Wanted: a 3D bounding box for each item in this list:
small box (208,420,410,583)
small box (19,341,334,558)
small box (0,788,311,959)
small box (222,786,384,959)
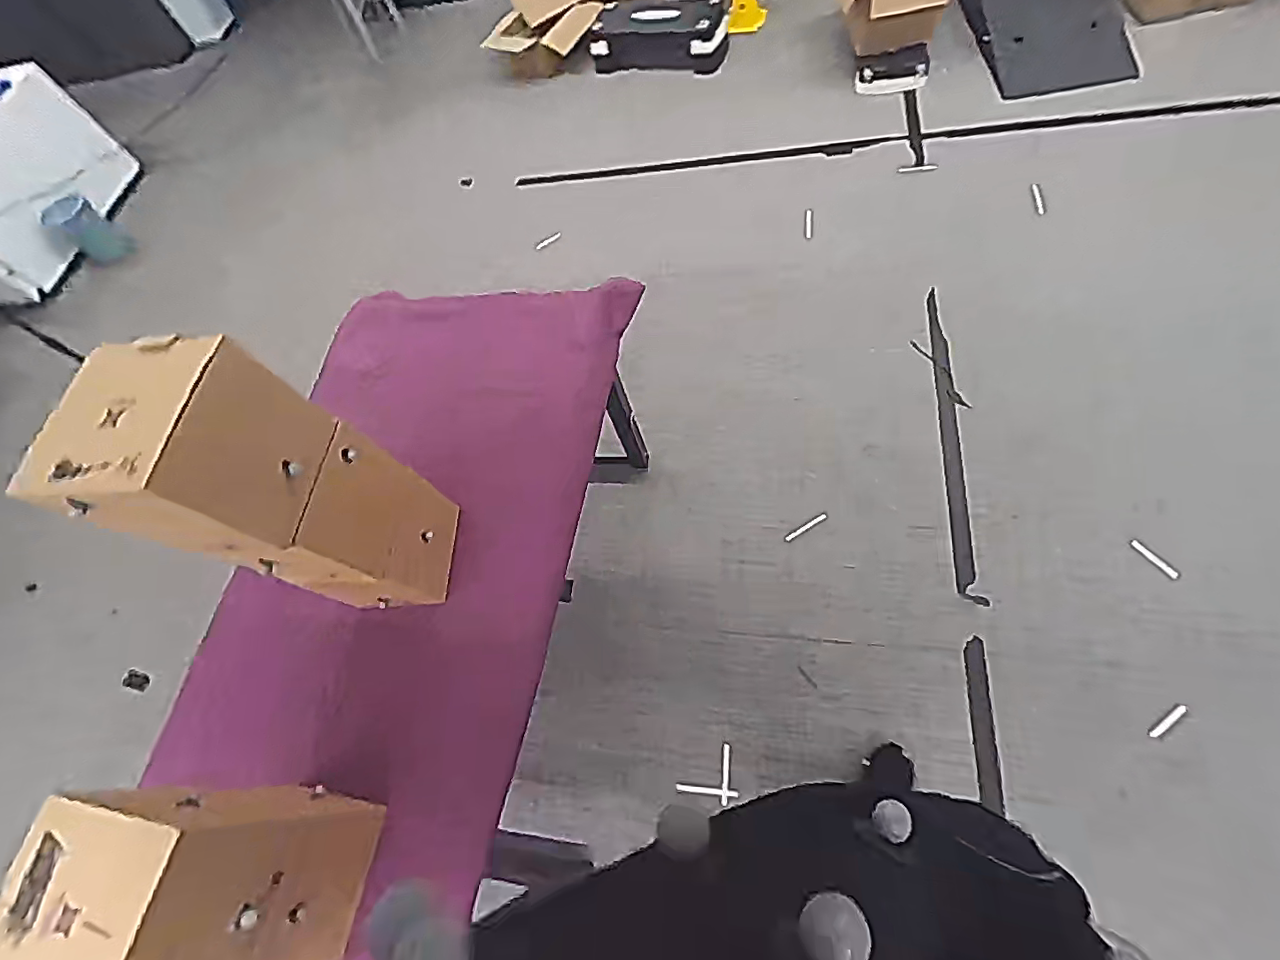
[{"bbox_3d":[-0.448,0.037,0.743,0.168,0.176,0.179,-1,64,12],"label":"small box"},{"bbox_3d":[-0.479,-0.027,0.595,0.168,0.176,0.179,-1,63,13],"label":"small box"},{"bbox_3d":[-0.494,0.424,0.555,0.179,0.176,0.168,3,64,14],"label":"small box"},{"bbox_3d":[-0.468,0.509,0.694,0.168,0.176,0.179,4,64,15],"label":"small box"}]
